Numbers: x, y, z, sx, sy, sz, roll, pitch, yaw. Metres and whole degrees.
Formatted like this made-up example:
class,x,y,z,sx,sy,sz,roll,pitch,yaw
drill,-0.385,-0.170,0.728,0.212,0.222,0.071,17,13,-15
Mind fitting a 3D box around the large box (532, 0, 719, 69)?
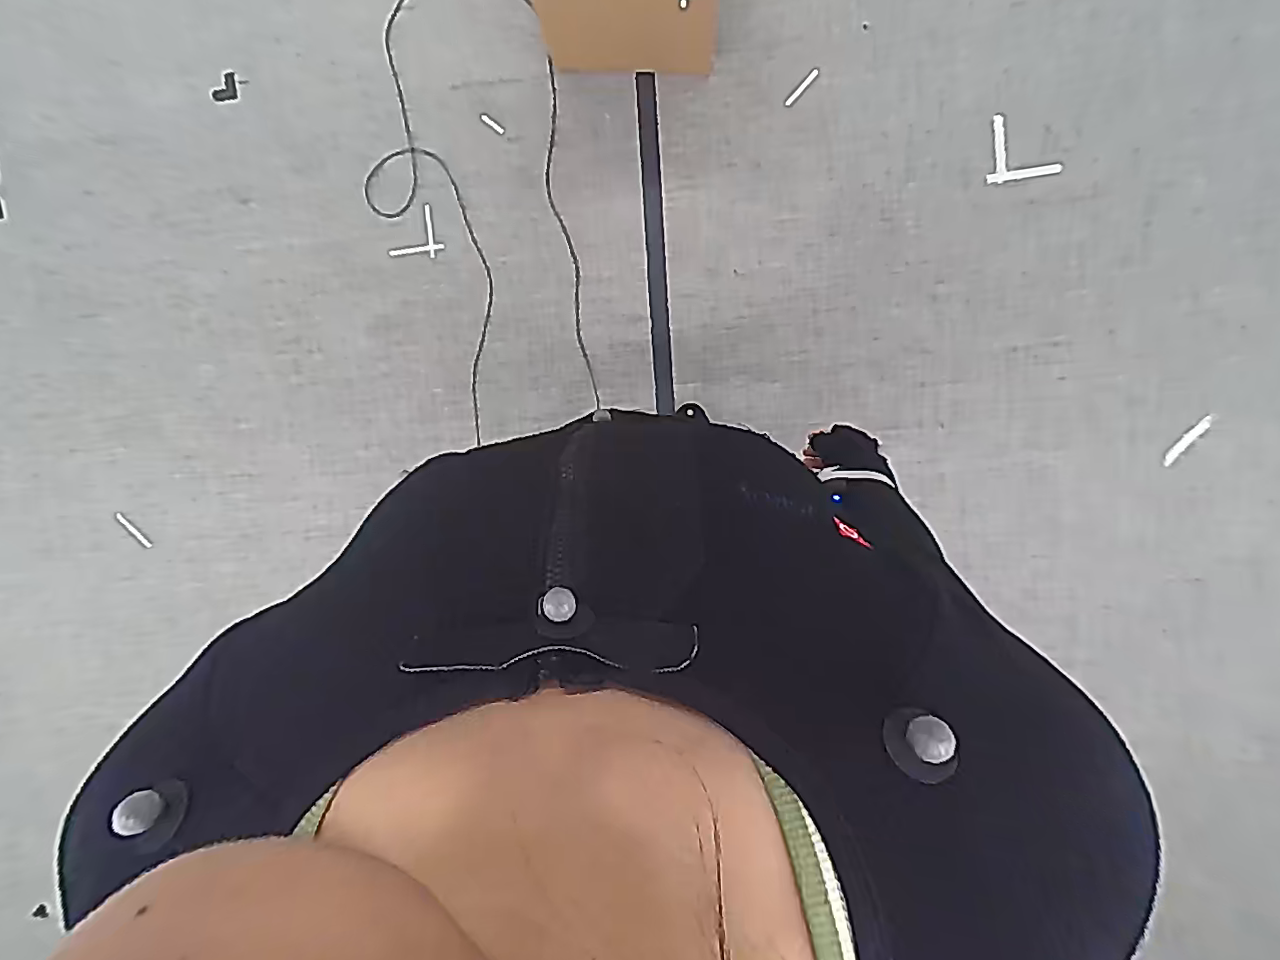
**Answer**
class,x,y,z,sx,sy,sz,roll,pitch,yaw
large box,-0.024,-1.177,1.209,0.408,0.320,0.320,3,97,3
